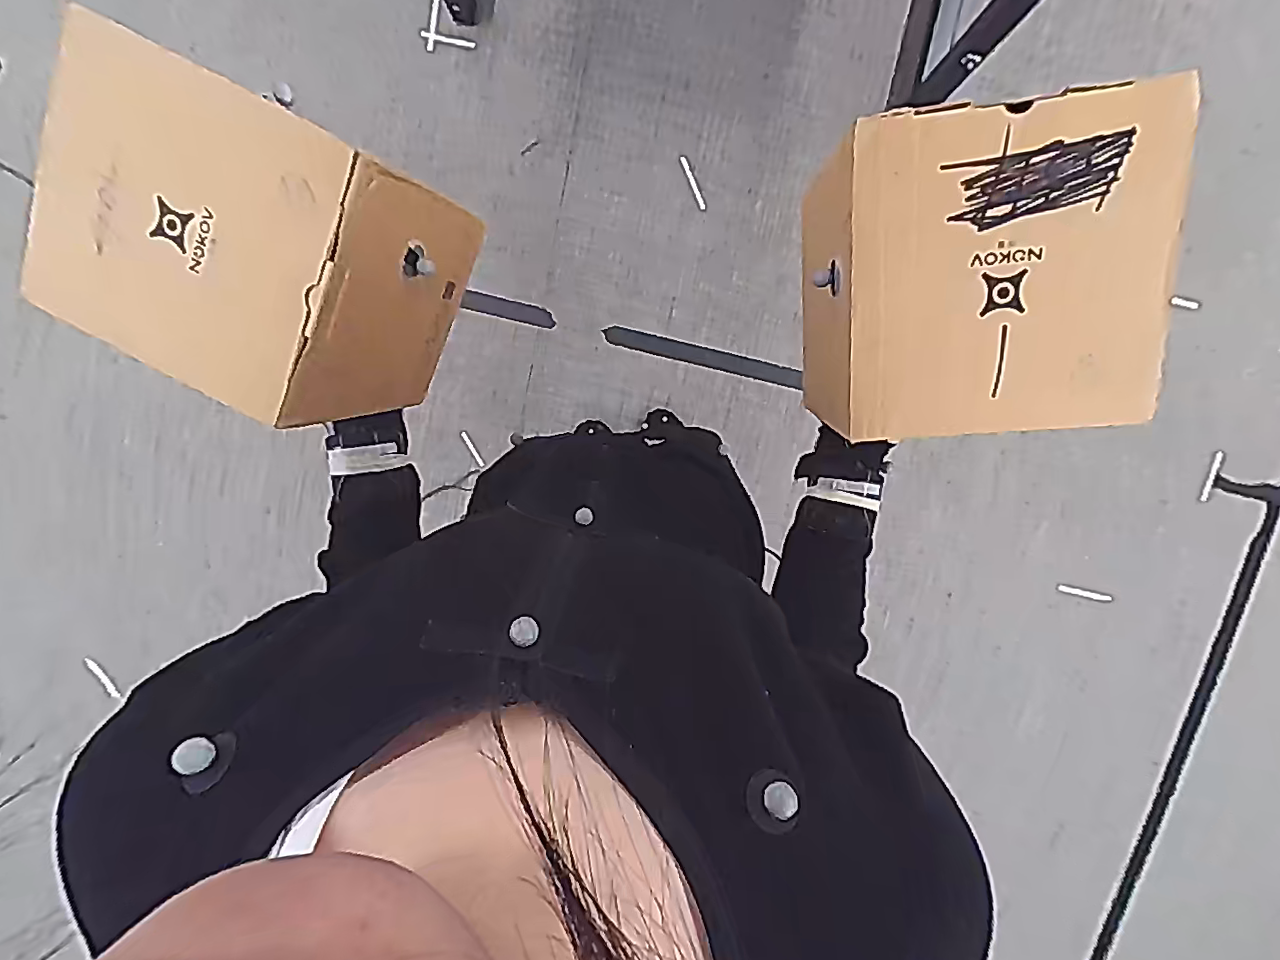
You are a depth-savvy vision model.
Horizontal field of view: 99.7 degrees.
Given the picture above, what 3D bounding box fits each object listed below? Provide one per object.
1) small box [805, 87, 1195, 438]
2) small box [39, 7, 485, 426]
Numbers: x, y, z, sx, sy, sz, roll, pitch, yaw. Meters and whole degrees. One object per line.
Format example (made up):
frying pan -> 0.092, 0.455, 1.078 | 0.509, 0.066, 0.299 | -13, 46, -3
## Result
small box -> 0.214, -0.132, 0.379 | 0.168, 0.176, 0.179 | -3, 105, 8
small box -> -0.237, -0.158, 0.379 | 0.179, 0.176, 0.168 | 27, 104, 1
